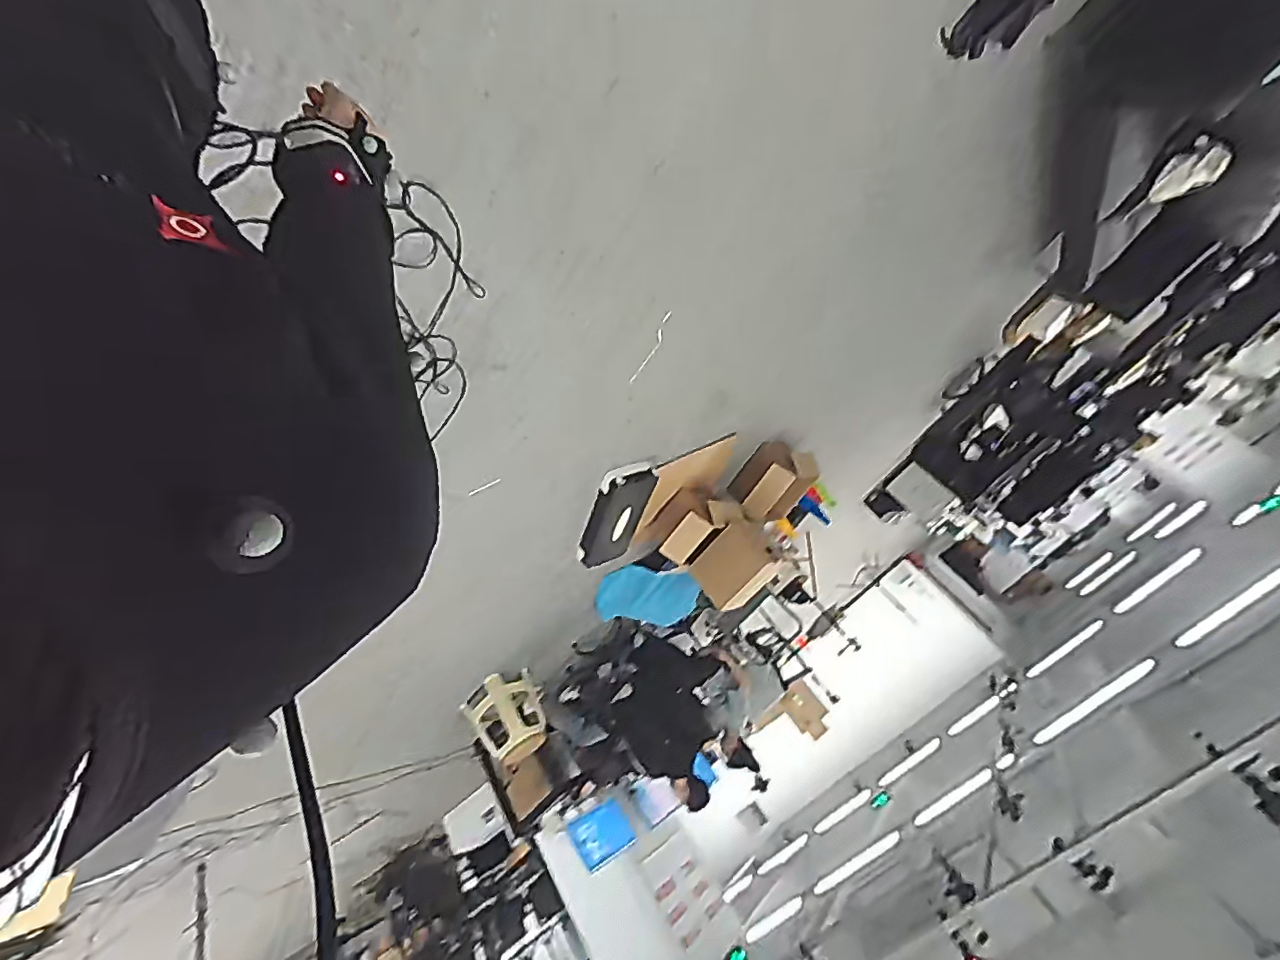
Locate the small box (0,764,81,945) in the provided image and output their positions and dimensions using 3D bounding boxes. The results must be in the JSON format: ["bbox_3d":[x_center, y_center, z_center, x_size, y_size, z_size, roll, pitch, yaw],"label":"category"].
[{"bbox_3d":[-0.914,0.539,0.756,0.168,0.176,0.179,5,128,-52],"label":"small box"}]
